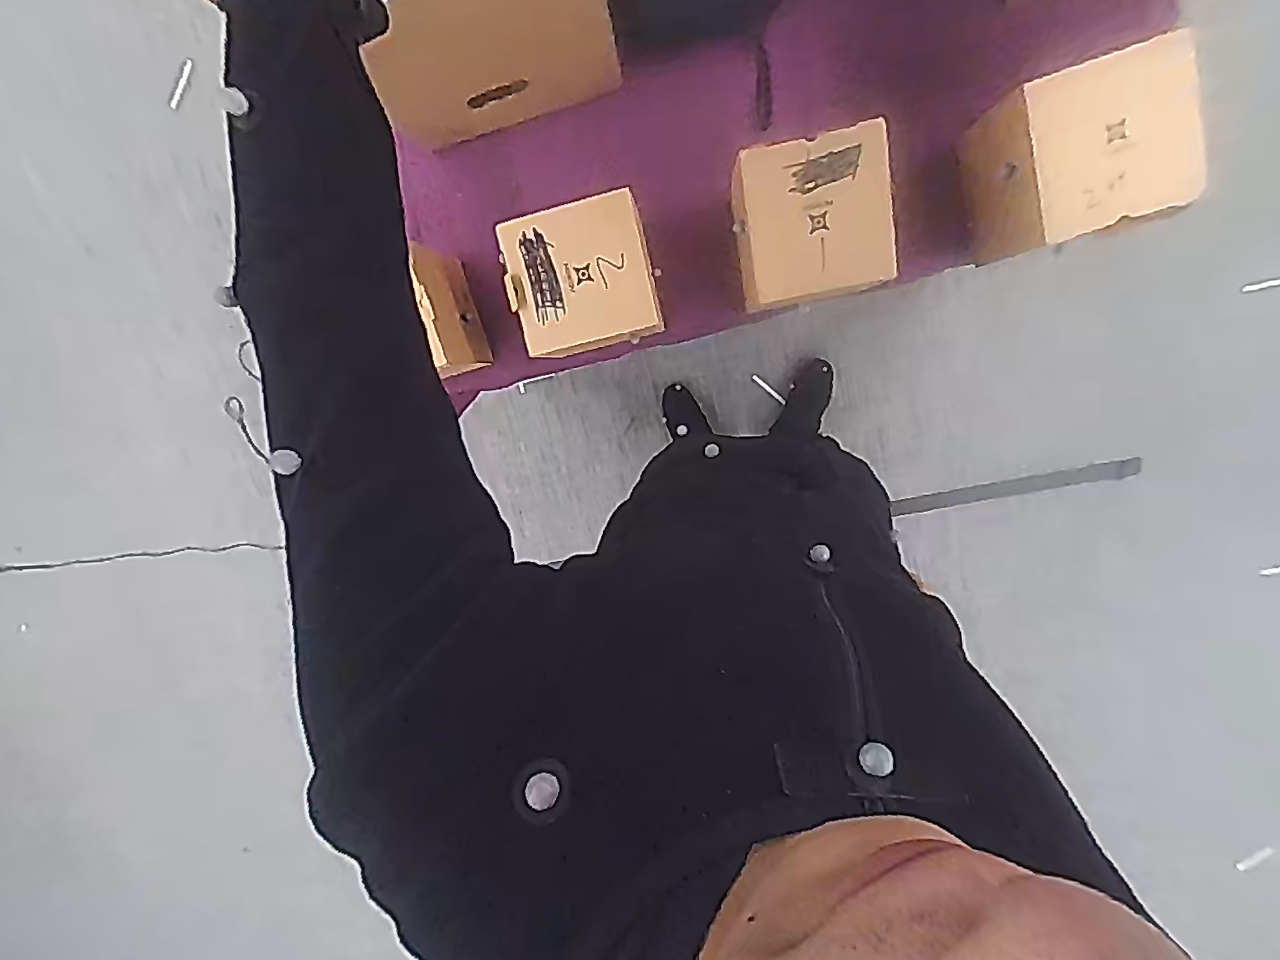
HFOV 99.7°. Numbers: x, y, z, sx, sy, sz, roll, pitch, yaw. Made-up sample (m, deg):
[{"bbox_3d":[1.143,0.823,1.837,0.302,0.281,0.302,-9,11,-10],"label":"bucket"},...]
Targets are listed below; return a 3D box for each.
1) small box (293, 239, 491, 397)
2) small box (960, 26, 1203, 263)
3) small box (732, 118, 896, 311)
[{"bbox_3d":[-0.349,-0.226,0.793,0.179,0.176,0.168,-16,101,8],"label":"small box"},{"bbox_3d":[0.522,-0.388,0.664,0.168,0.176,0.179,-14,102,10],"label":"small box"},{"bbox_3d":[0.217,-0.330,0.711,0.168,0.176,0.179,-9,103,8],"label":"small box"}]
